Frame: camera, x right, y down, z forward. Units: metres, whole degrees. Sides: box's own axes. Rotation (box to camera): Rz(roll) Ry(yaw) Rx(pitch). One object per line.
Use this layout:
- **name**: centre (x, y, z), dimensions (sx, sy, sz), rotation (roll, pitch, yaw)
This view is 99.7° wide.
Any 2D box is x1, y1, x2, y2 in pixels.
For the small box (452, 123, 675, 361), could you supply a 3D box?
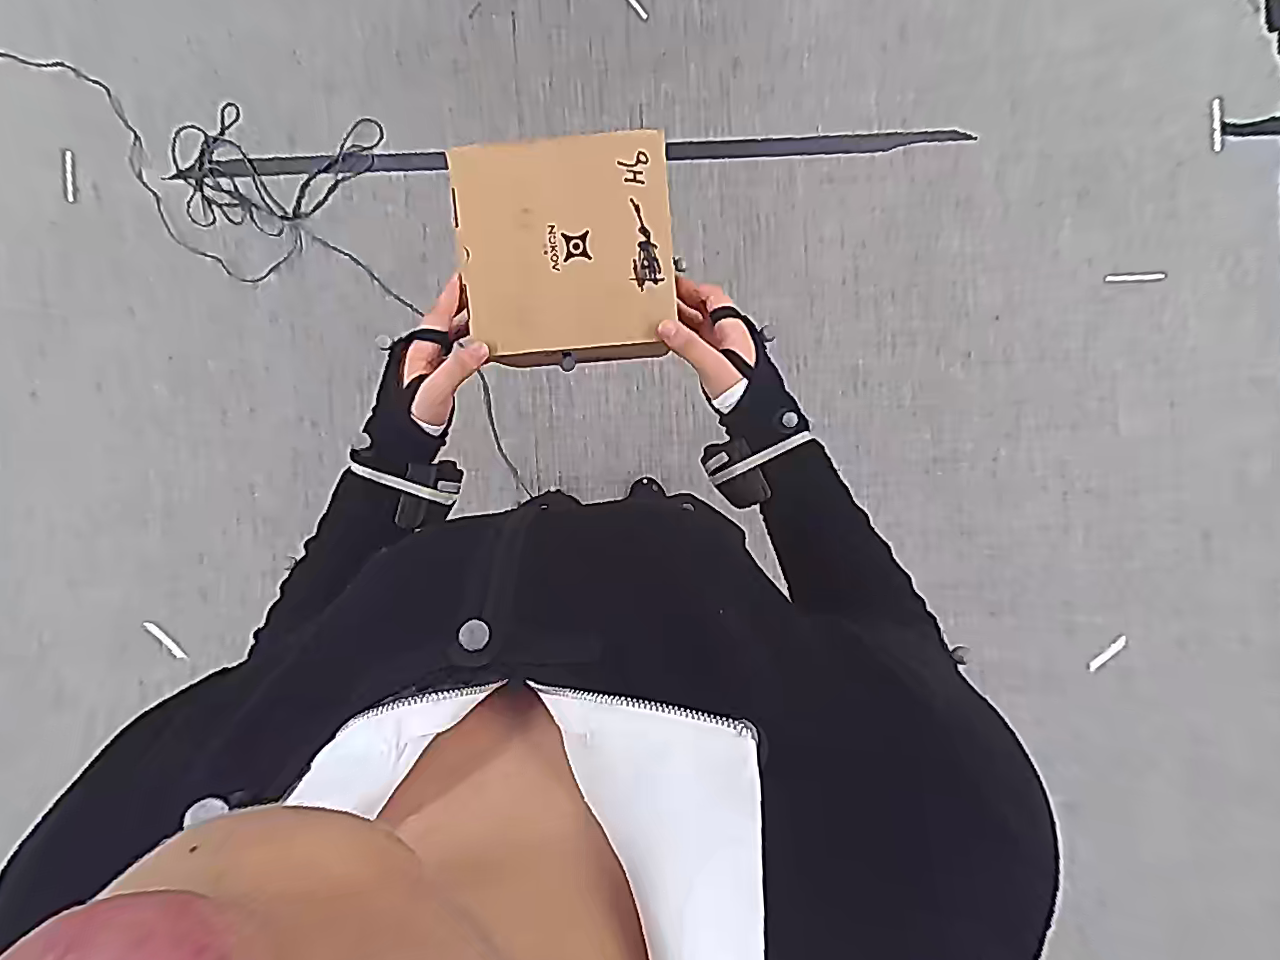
- **small box**: centre (-0.061, -0.210, 0.524), dimensions (0.179, 0.176, 0.168), rotation (-4, 98, 0)

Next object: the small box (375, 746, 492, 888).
- **small box**: centre (-0.402, 0.663, 1.079), dimensions (0.168, 0.176, 0.179), rotation (-5, 90, 0)
